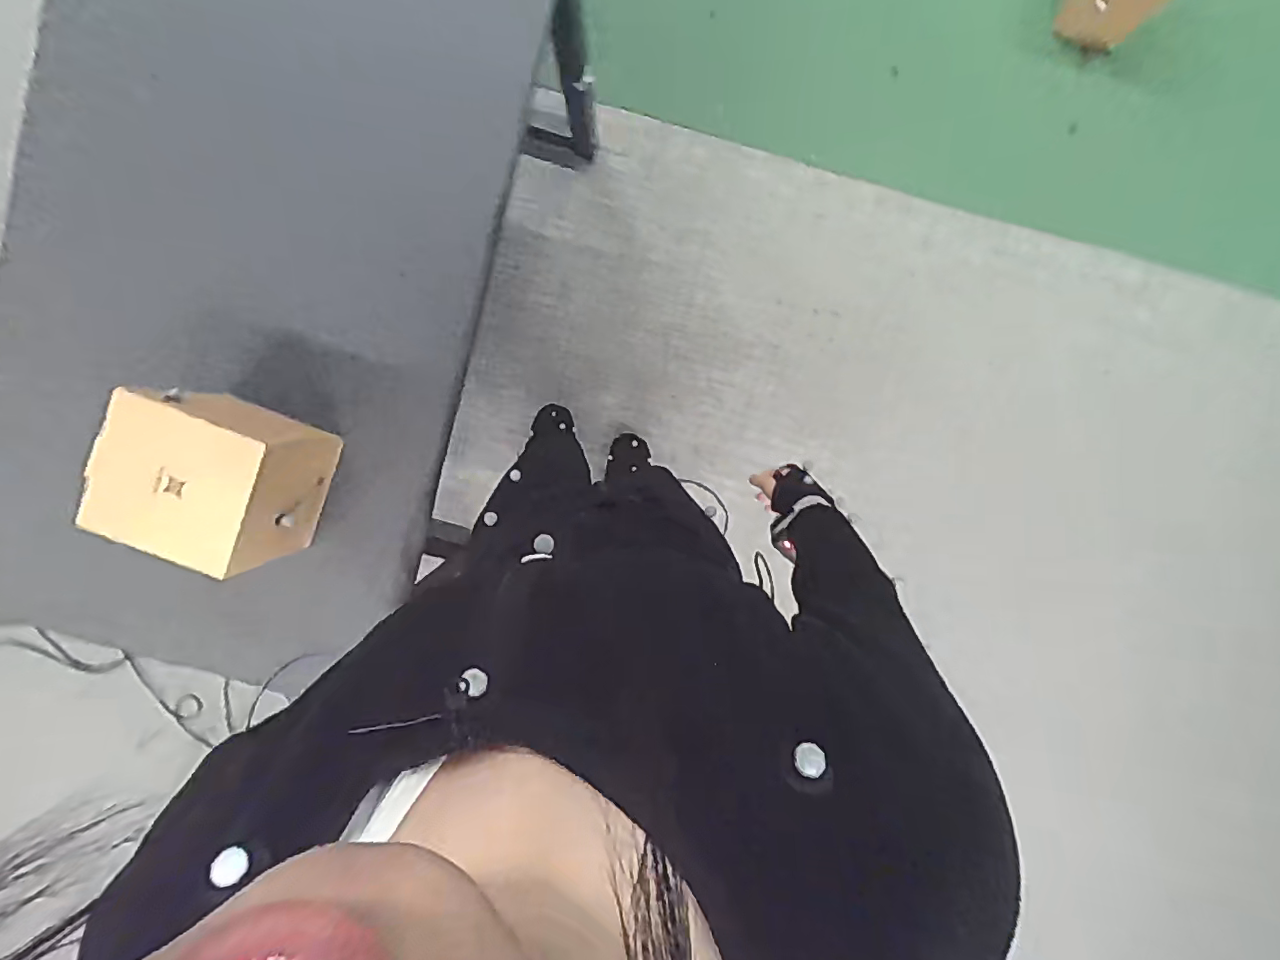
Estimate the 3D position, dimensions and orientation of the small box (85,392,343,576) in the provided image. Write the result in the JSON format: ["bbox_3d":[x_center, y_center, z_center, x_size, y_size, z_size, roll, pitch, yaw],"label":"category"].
[{"bbox_3d":[-0.517,-0.004,0.684,0.179,0.176,0.168,20,96,-2],"label":"small box"}]
